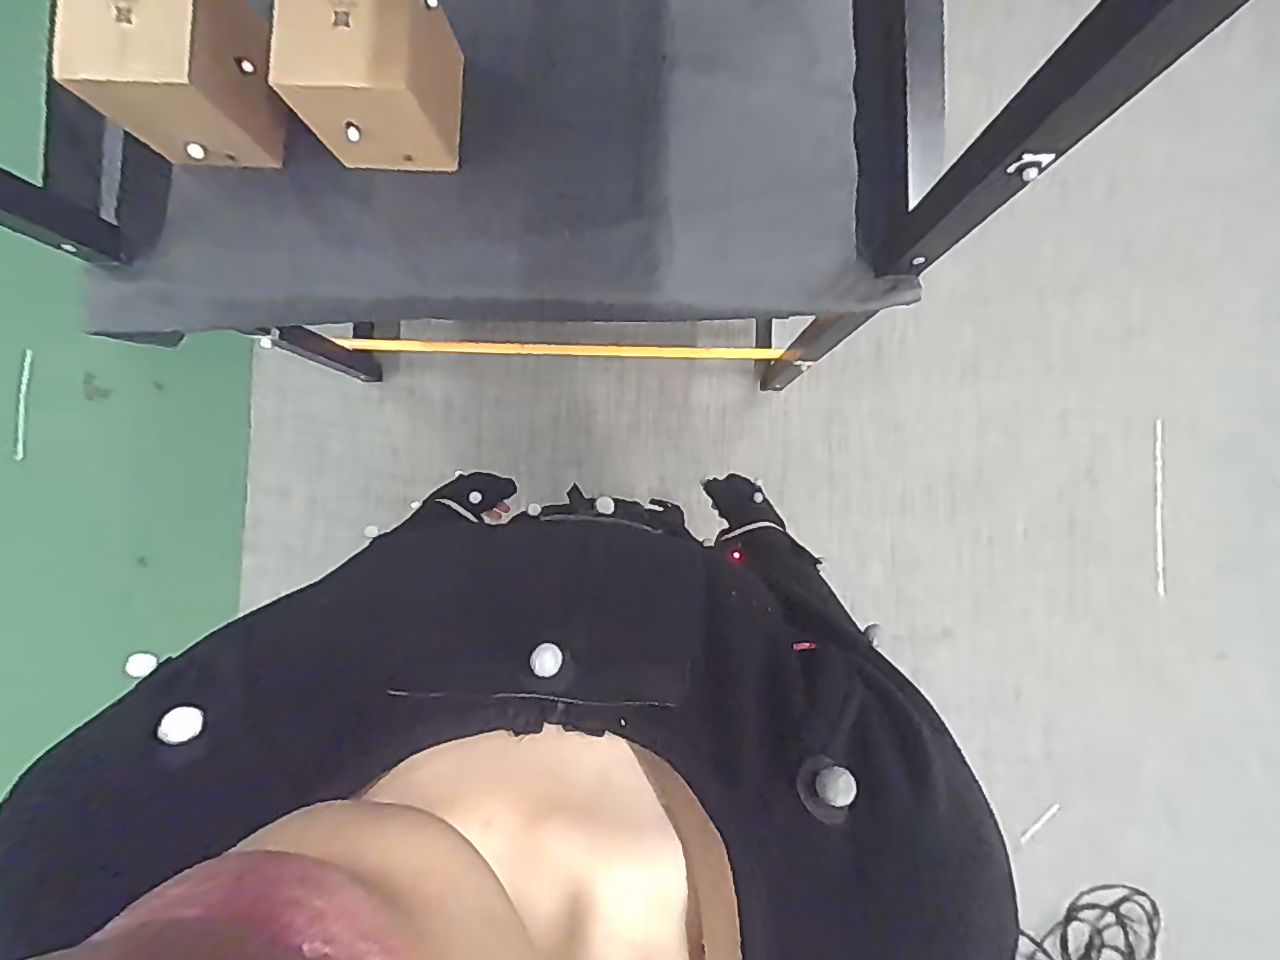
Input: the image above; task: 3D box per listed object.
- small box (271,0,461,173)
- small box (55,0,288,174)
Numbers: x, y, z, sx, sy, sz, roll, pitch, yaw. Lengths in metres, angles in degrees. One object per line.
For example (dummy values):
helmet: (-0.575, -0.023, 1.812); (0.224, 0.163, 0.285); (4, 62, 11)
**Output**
small box: (-0.348, -0.537, 0.717); (0.168, 0.176, 0.179); (2, 88, 1)
small box: (-0.601, -0.544, 0.718); (0.168, 0.176, 0.179); (2, 89, 1)
